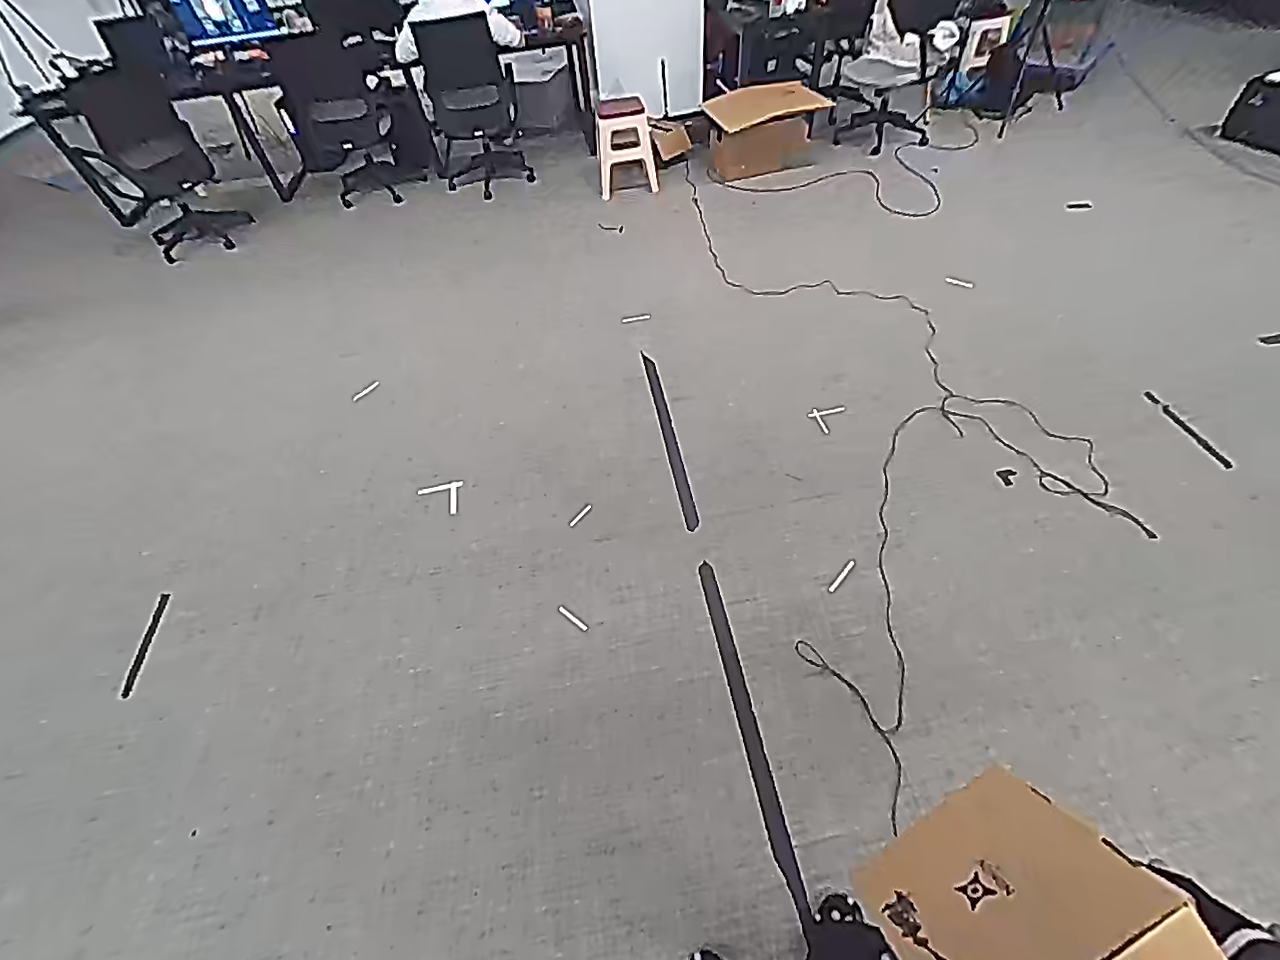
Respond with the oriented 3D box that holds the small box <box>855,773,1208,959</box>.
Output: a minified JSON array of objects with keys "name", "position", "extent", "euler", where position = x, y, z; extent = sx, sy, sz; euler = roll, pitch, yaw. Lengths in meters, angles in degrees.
[{"name":"small box","position":[0.318,0.388,0.428],"extent":[0.179,0.168,0.176],"euler":[-34,90,-3]}]
